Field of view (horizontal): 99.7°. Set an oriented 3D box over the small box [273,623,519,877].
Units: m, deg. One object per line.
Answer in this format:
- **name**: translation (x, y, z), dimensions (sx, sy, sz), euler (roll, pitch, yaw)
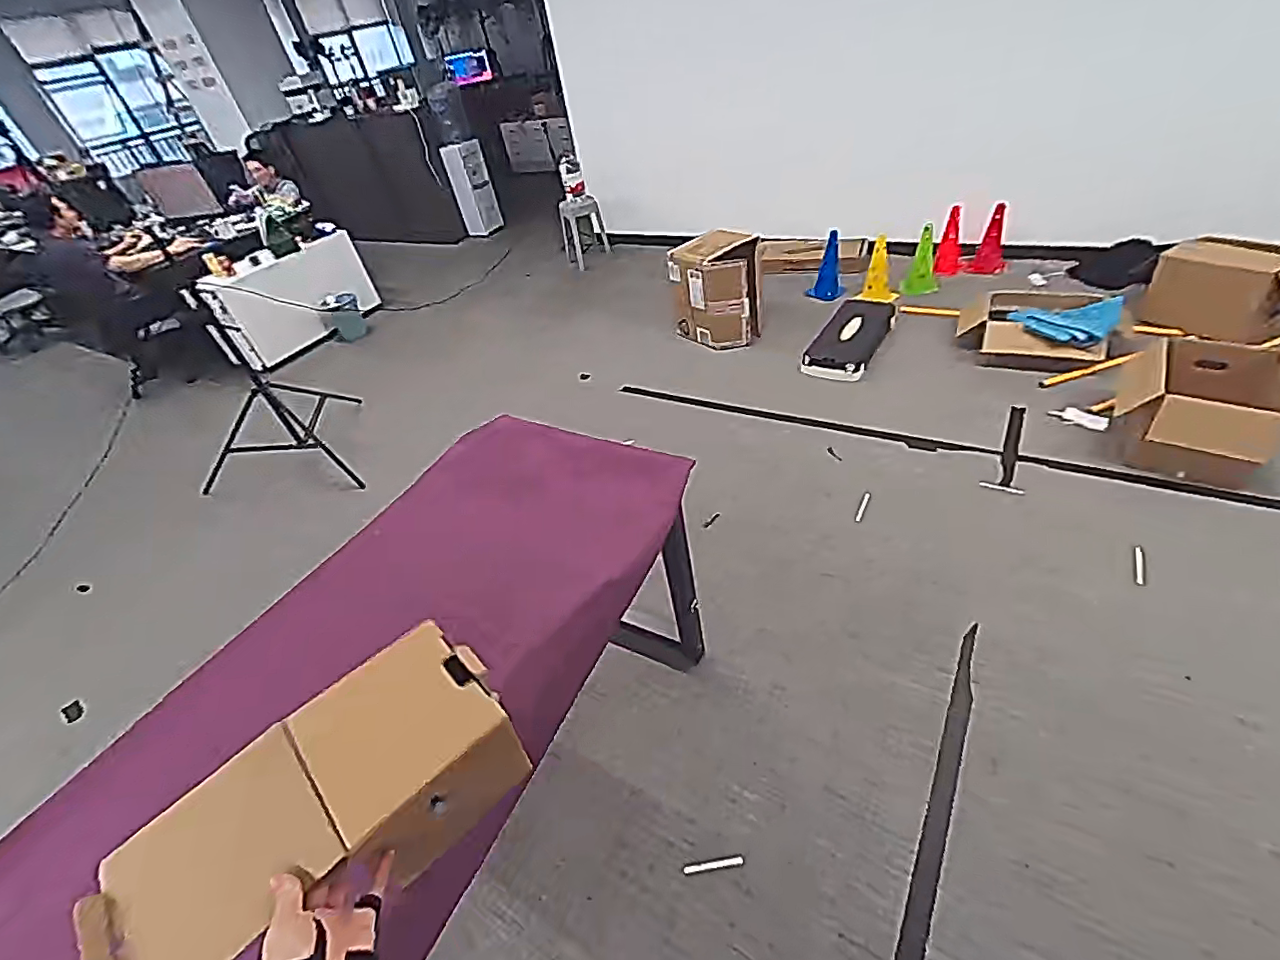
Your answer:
- **small box**: translation (-0.266, 0.311, 0.624), dimensions (0.168, 0.176, 0.179), euler (33, 56, 30)
